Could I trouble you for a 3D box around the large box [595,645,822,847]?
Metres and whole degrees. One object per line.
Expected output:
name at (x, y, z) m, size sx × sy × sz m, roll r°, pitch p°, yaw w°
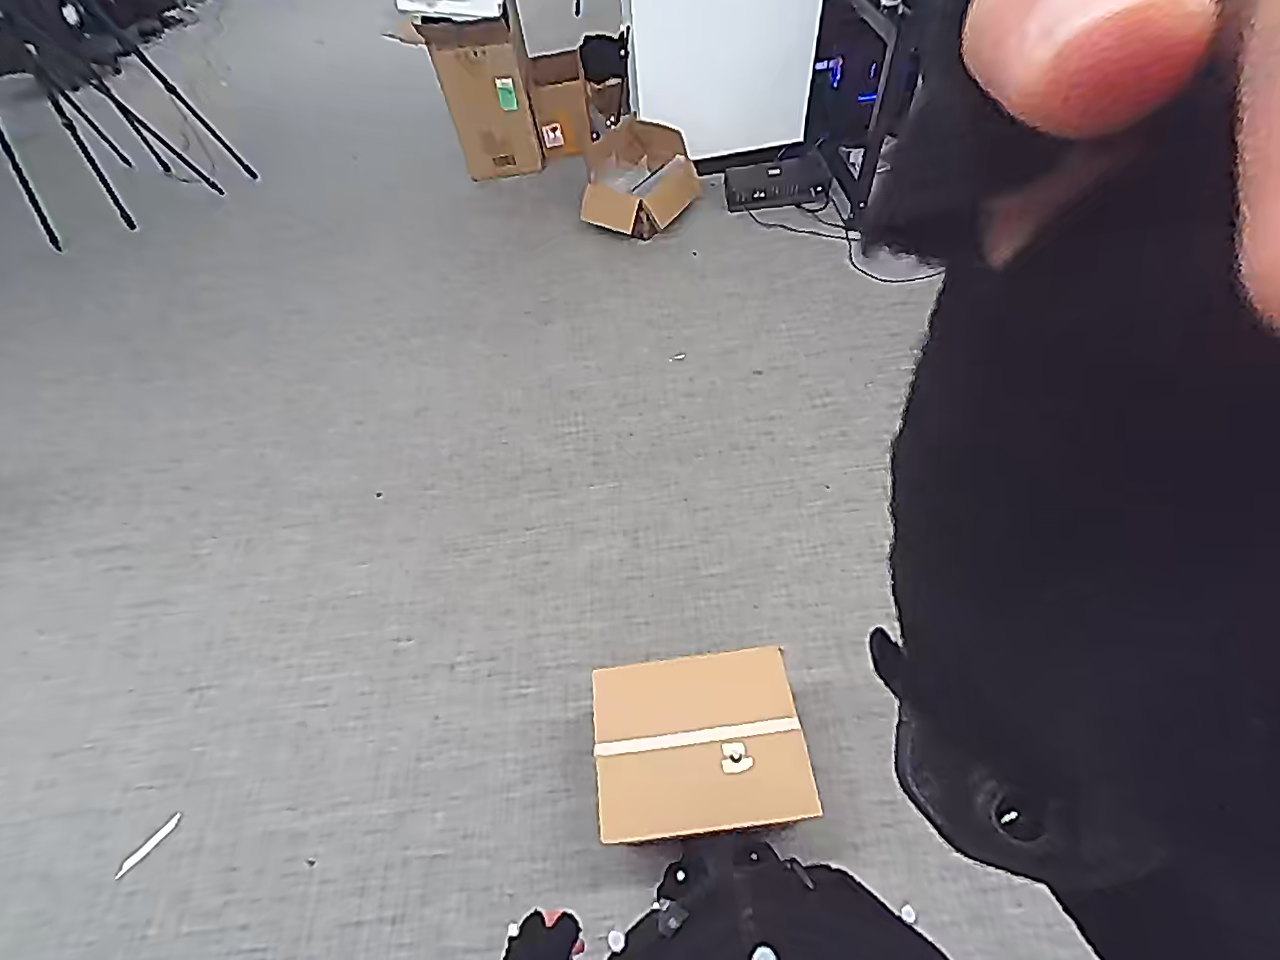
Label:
large box at (0.129, 0.588, 1.181) m, size 0.408 × 0.320 × 0.320 m, roll -8°, pitch 56°, yaw 0°
